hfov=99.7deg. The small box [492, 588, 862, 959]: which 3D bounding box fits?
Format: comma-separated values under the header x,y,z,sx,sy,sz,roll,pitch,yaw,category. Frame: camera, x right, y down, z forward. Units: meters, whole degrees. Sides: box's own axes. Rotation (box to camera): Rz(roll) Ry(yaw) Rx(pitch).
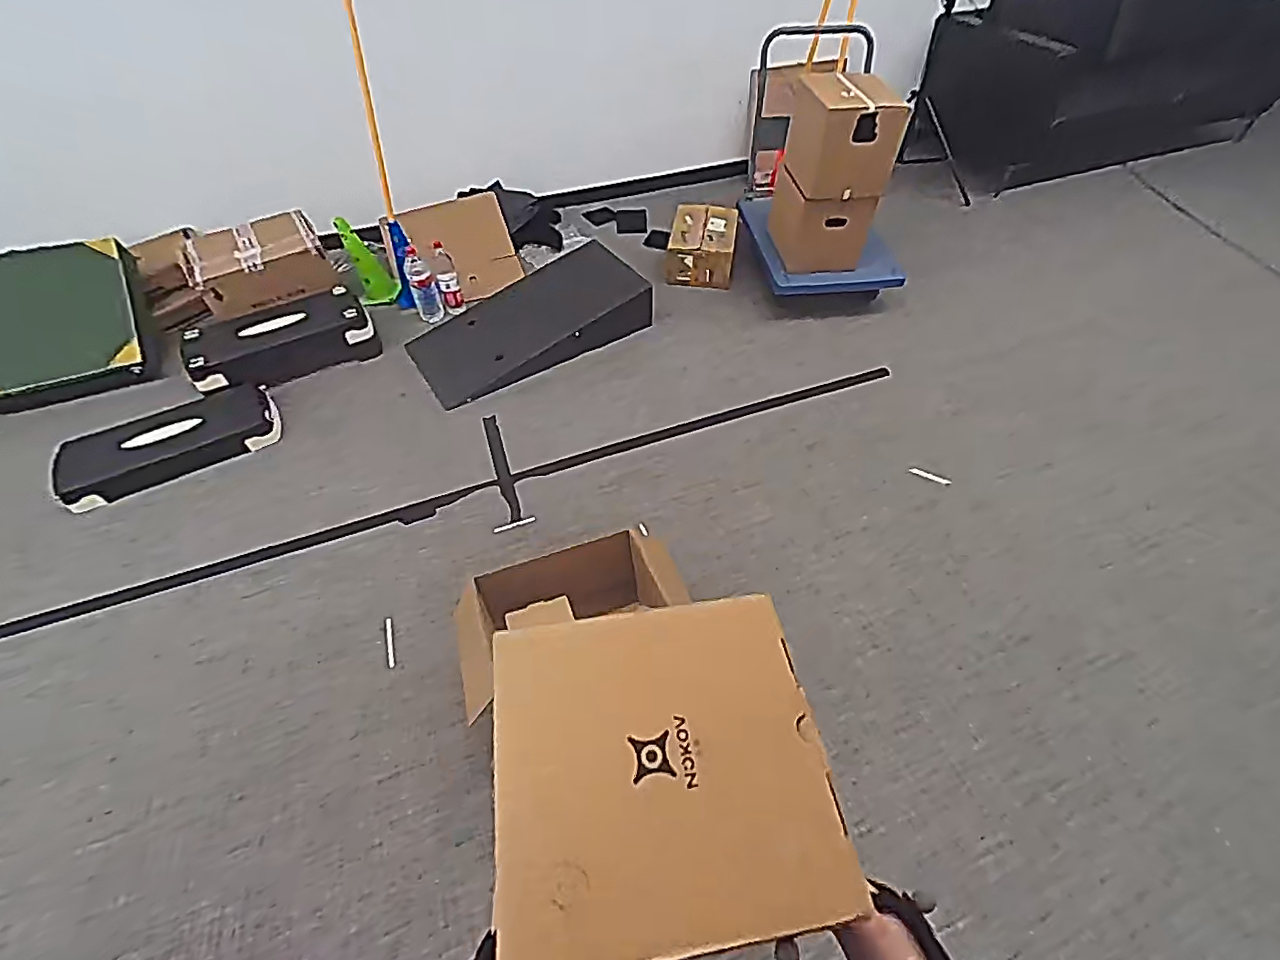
x,y,z,sx,sy,sz,roll,pitch,yaw,category
0.007,0.192,0.356,0.179,0.176,0.168,-7,54,-8,small box
